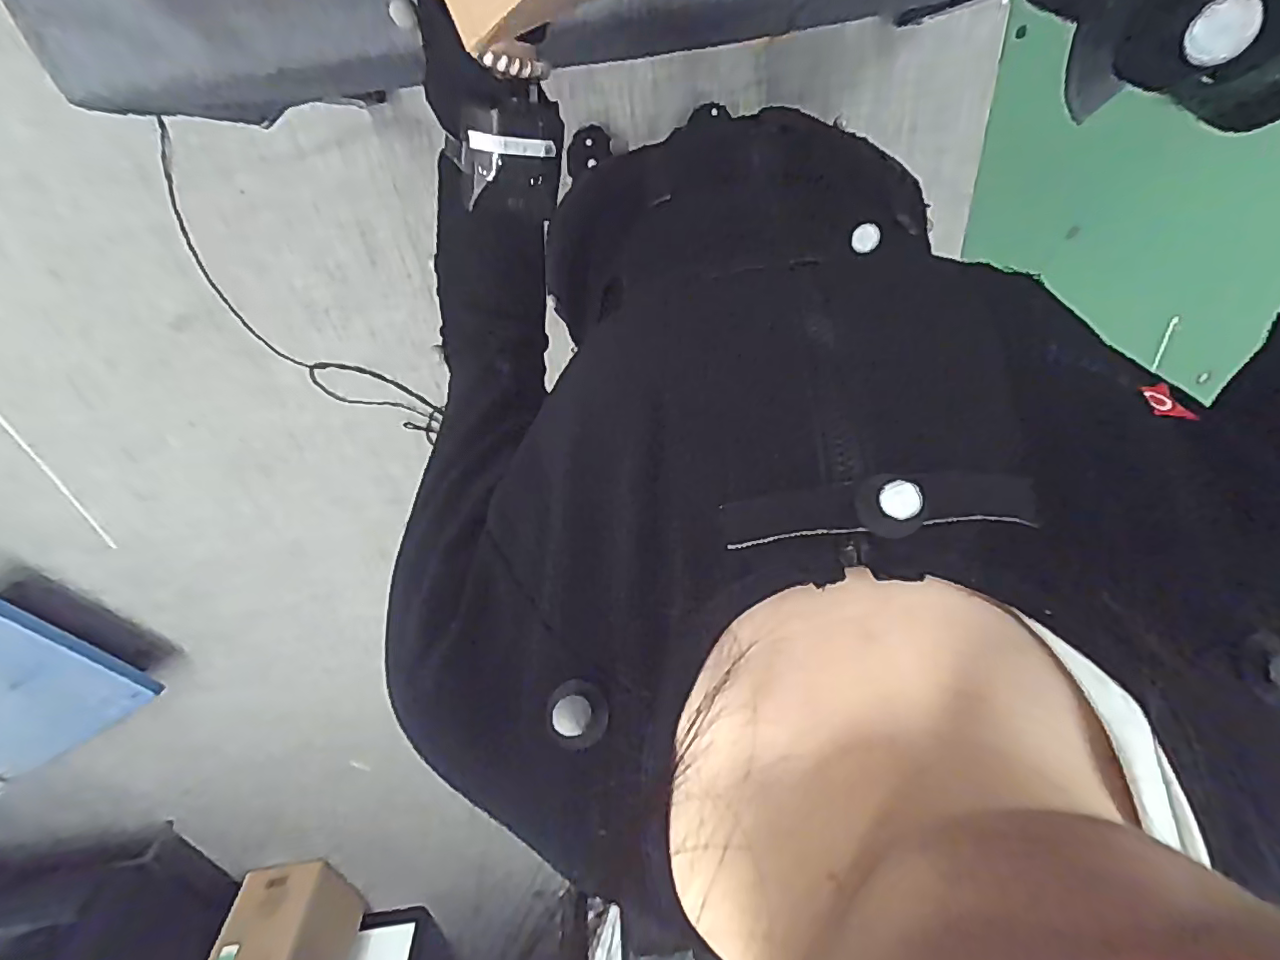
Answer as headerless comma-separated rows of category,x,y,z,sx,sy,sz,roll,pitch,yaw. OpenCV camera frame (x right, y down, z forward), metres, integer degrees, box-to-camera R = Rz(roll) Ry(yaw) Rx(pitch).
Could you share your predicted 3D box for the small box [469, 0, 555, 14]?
small box,-0.010,-0.277,0.161,0.168,0.176,0.179,-30,128,-9
